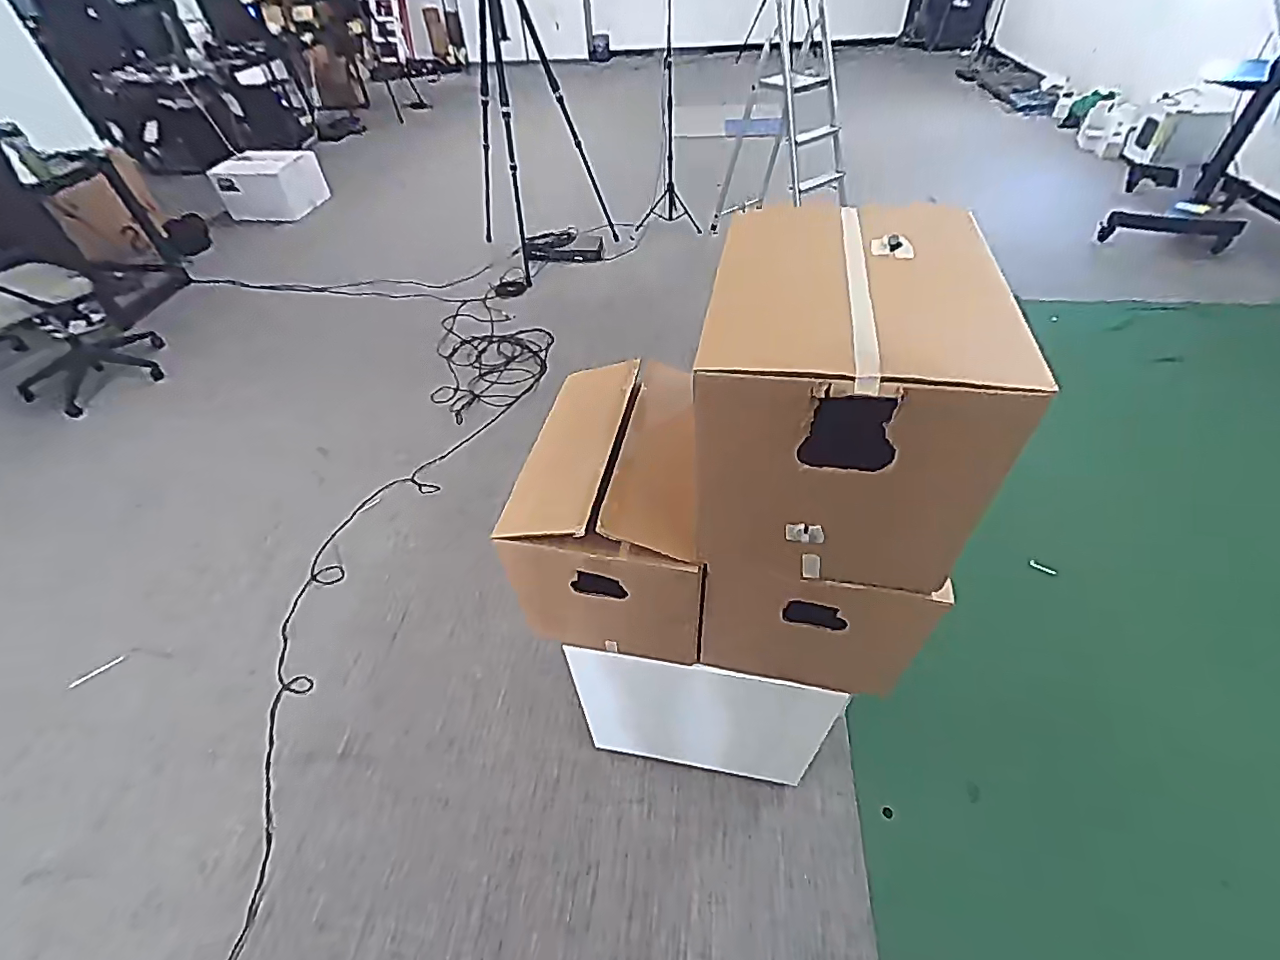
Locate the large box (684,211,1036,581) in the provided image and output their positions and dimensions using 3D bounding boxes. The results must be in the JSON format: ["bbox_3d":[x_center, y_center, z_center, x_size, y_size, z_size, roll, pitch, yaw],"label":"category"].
[{"bbox_3d":[0.244,-0.123,0.727,0.320,0.320,0.408,6,46,12],"label":"large box"}]
